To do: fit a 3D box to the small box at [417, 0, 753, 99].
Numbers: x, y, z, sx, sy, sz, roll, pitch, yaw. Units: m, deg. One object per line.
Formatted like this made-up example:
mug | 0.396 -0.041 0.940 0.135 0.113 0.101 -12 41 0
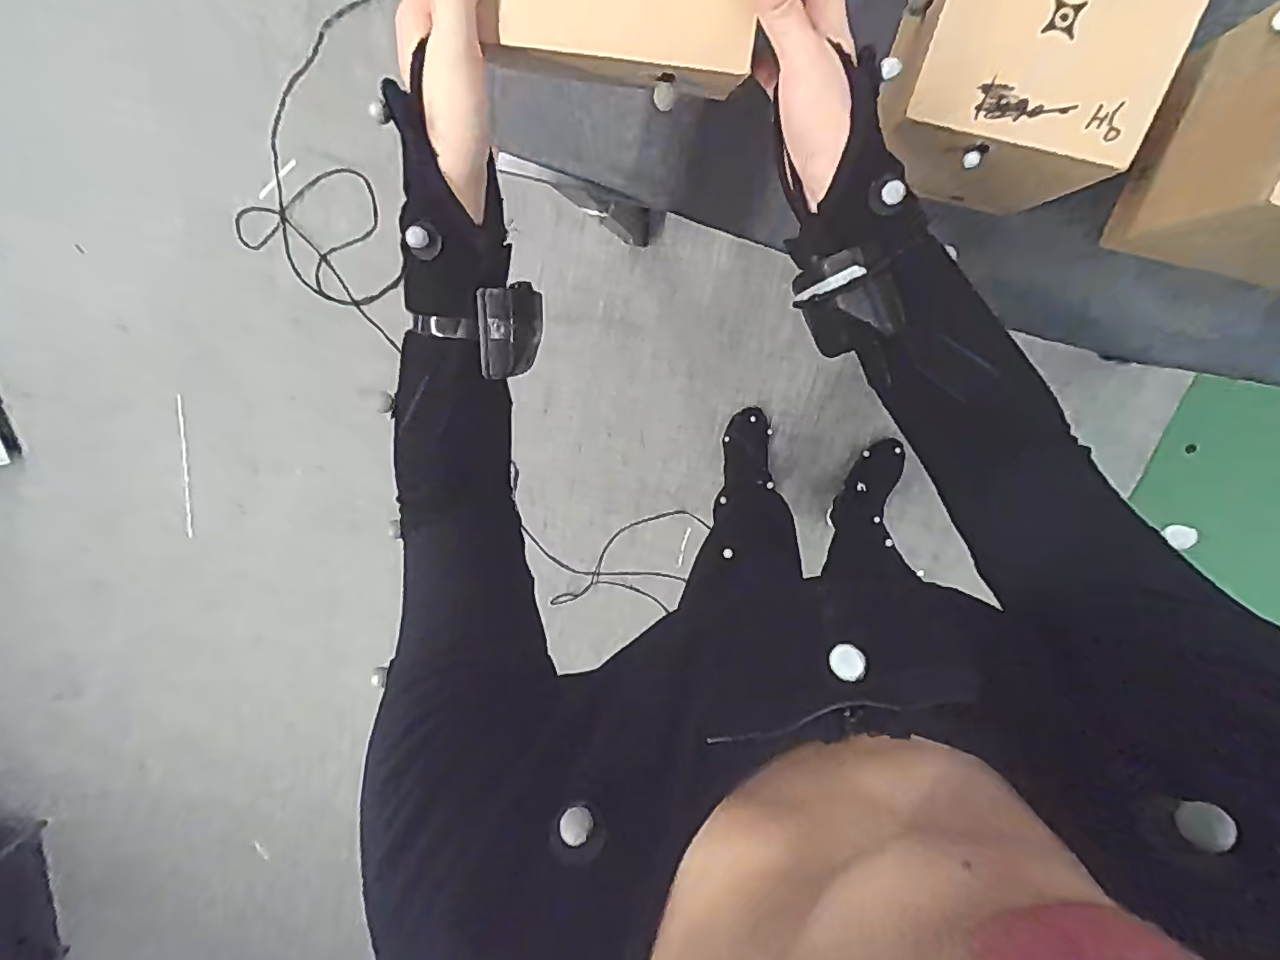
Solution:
small box | -0.018 -0.336 0.317 0.179 0.176 0.168 8 121 0
